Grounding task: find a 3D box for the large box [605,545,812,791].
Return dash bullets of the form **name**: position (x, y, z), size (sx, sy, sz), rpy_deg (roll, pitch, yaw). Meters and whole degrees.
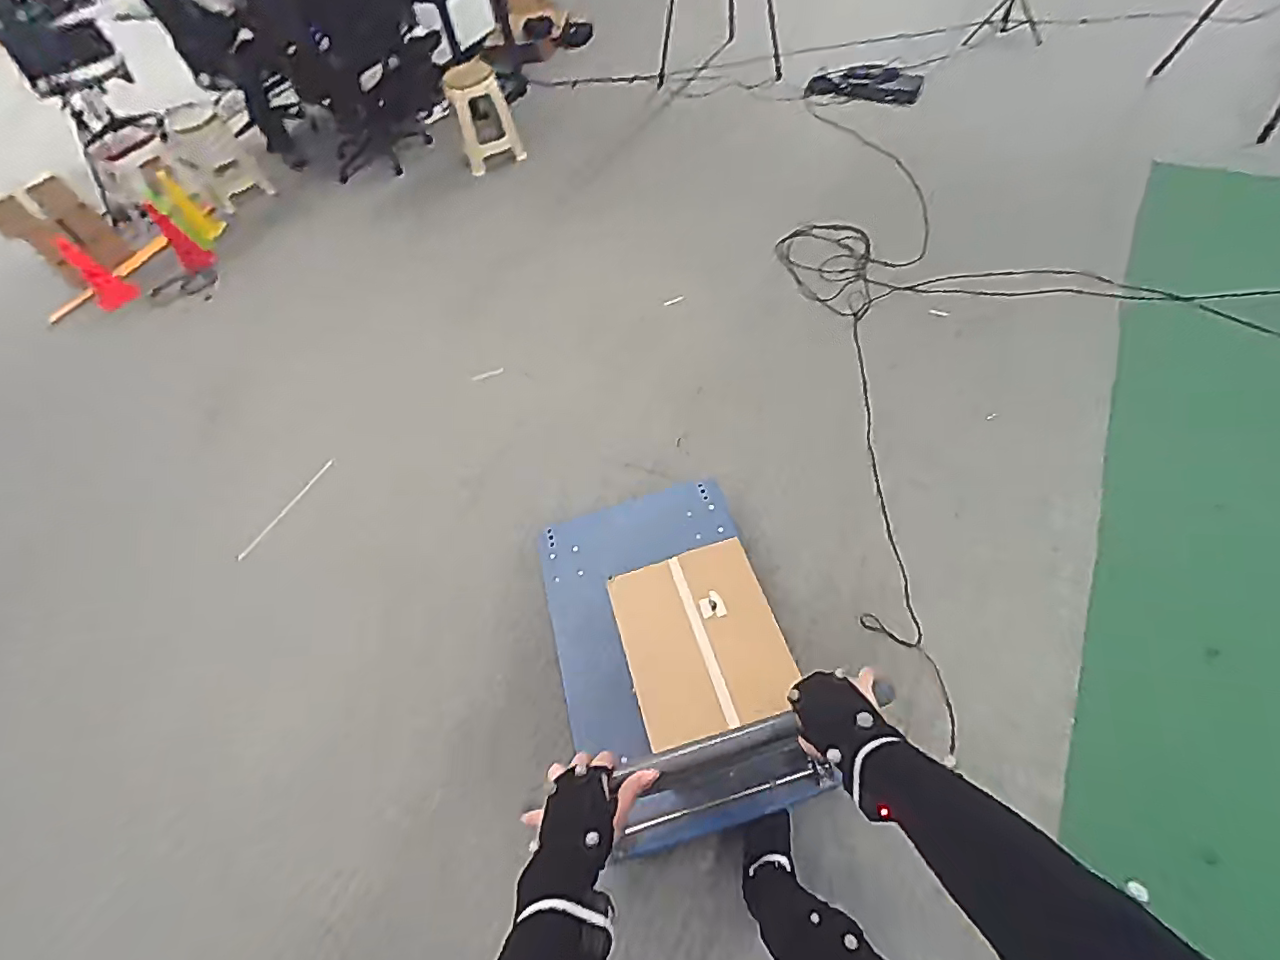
- **large box**: position (0.144, 0.428, 1.233), size (0.320, 0.320, 0.408), rpy_deg (-17, 54, -4)
